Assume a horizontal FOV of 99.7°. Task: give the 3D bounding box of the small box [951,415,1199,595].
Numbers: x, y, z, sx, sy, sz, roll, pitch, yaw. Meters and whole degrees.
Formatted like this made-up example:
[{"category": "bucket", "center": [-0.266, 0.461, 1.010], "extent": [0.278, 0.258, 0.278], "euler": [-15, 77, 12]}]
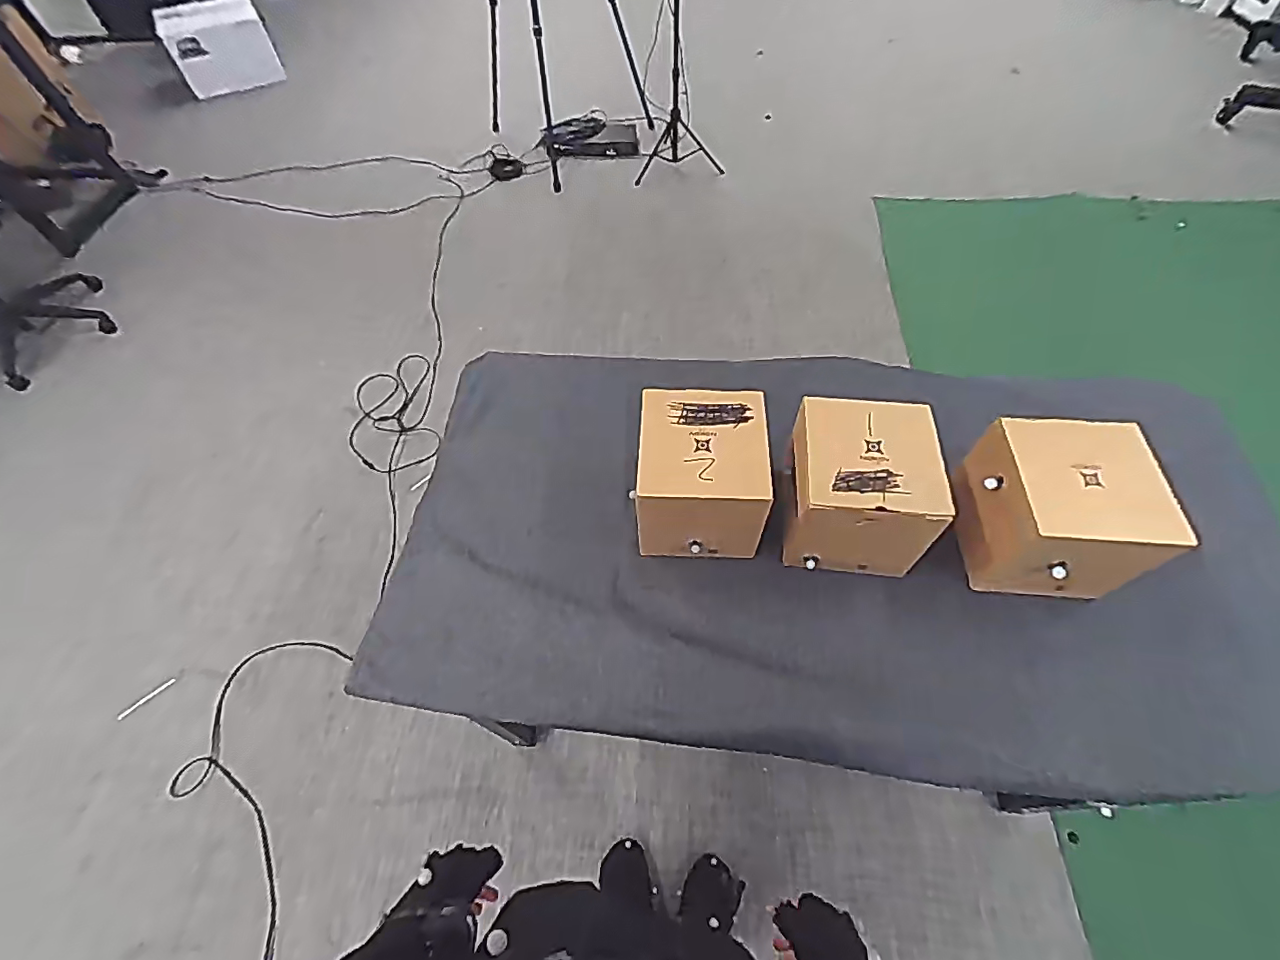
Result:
[{"category": "small box", "center": [0.537, 0.038, 0.703], "extent": [0.168, 0.176, 0.179], "euler": [3, 57, 5]}]
